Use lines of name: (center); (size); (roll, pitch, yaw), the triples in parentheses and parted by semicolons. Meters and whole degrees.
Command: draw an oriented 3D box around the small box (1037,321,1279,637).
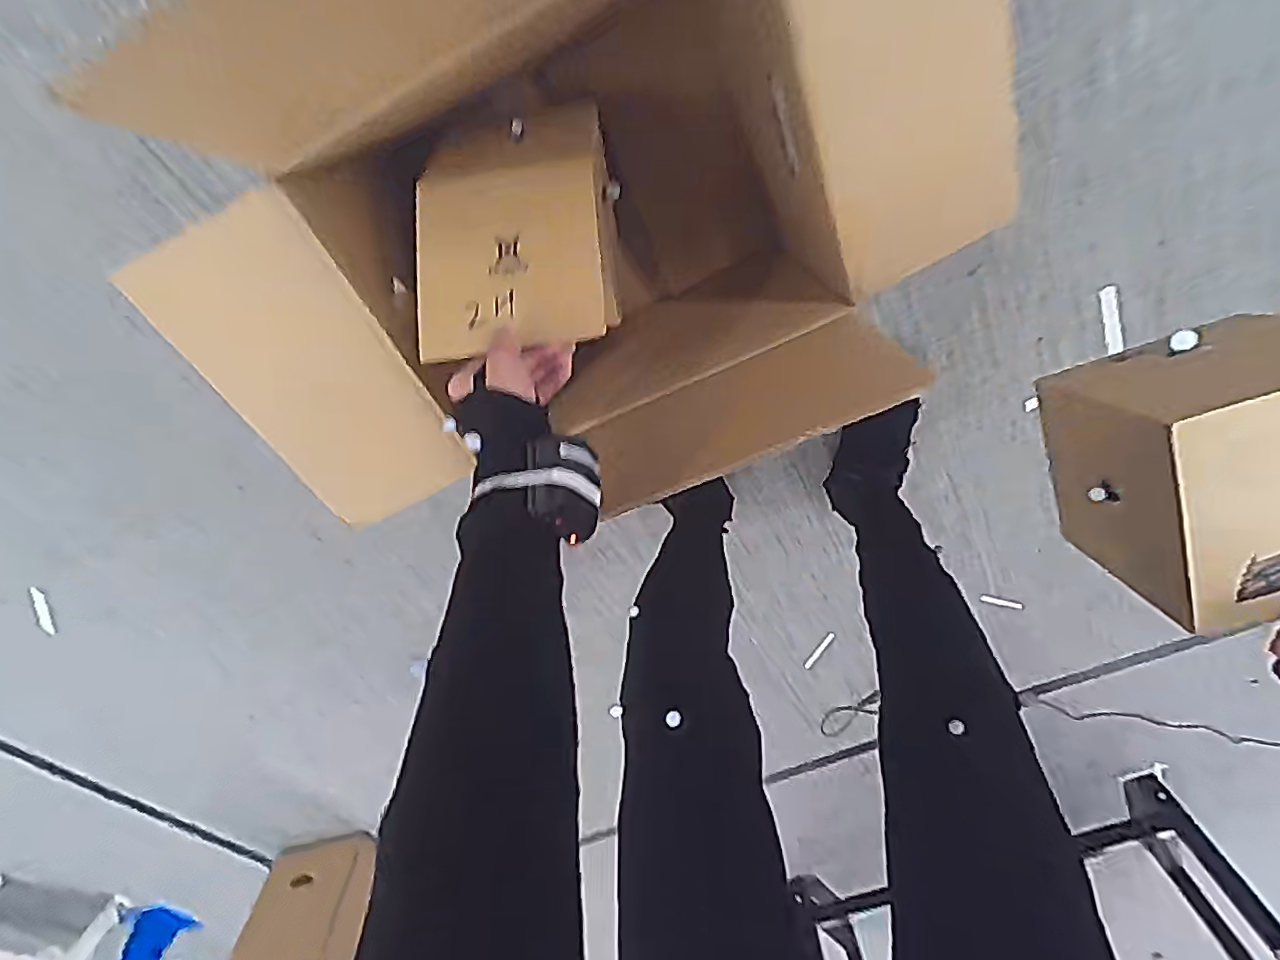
small box: (0.458, -0.012, 0.428); (0.168, 0.176, 0.179); (-19, 106, 14)
